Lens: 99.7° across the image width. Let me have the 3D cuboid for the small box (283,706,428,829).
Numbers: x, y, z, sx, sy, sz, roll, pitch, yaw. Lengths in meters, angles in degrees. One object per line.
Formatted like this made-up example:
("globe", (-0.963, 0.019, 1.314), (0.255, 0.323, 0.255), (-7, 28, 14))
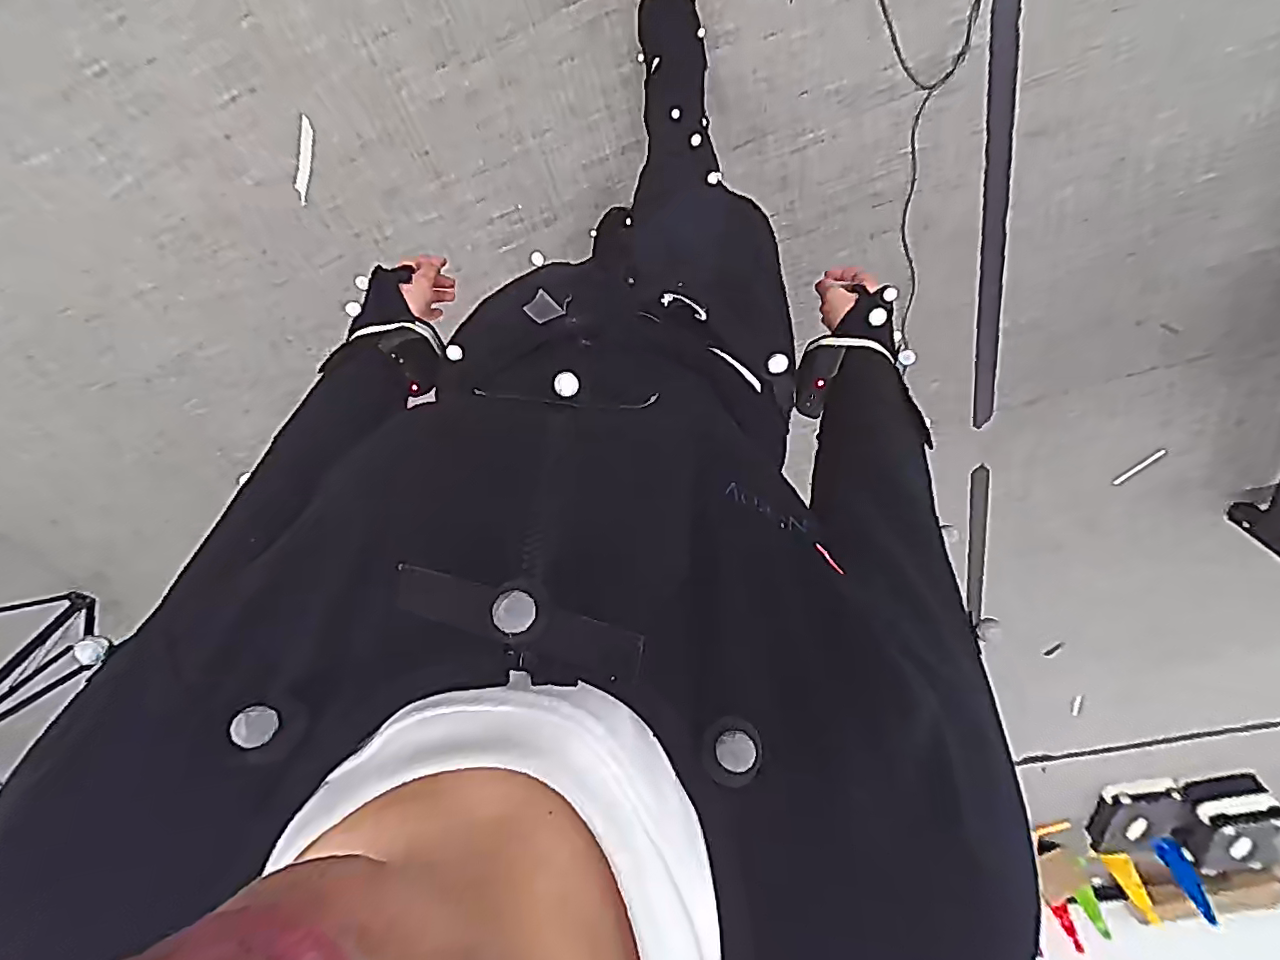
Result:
("small box", (-0.576, 0.589, 1.122), (0.168, 0.176, 0.179), (-17, 126, 12))
